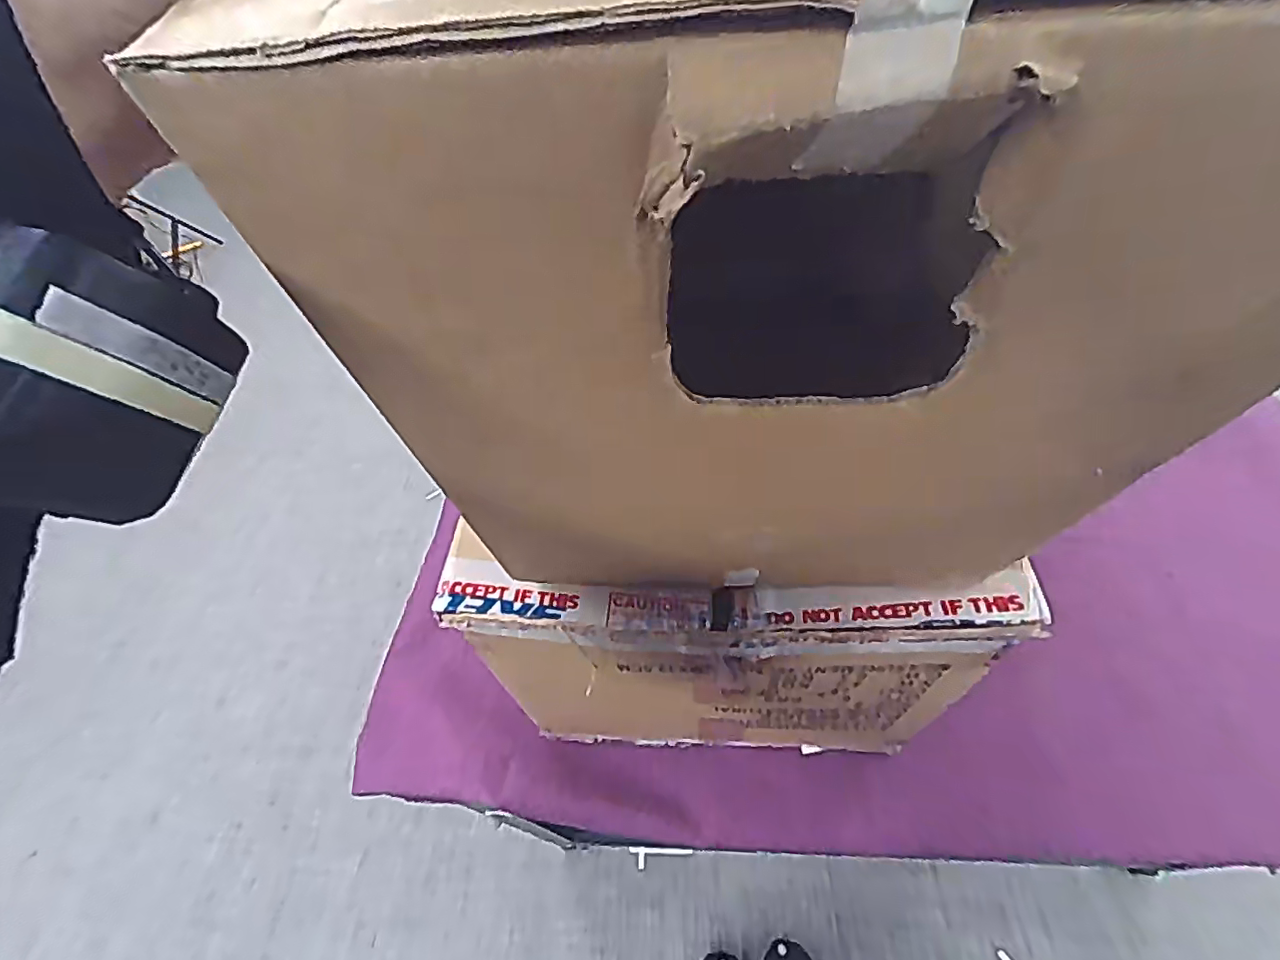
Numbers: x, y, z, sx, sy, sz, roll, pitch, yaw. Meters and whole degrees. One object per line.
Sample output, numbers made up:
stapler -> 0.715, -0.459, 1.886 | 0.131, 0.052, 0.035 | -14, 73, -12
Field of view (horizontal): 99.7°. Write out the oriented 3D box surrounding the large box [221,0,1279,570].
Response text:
large box -> 0.066, -0.184, 0.335 | 0.320, 0.320, 0.408 | -1, 61, 4
